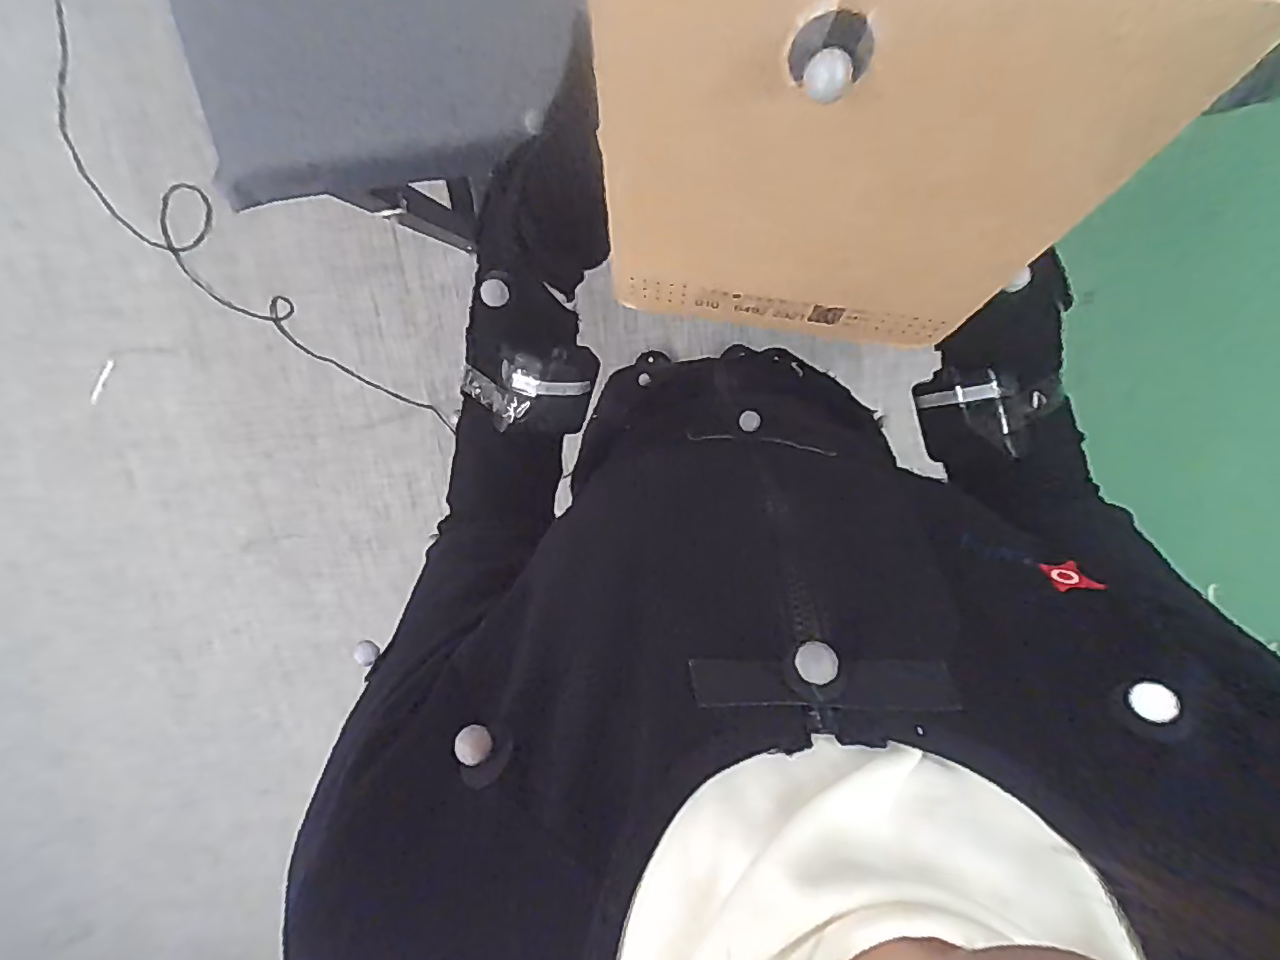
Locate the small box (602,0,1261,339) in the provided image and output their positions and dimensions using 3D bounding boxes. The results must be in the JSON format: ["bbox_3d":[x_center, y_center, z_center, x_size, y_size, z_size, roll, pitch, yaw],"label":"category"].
[{"bbox_3d":[0.078,-0.186,0.225,0.168,0.176,0.179,9,77,2],"label":"small box"}]
